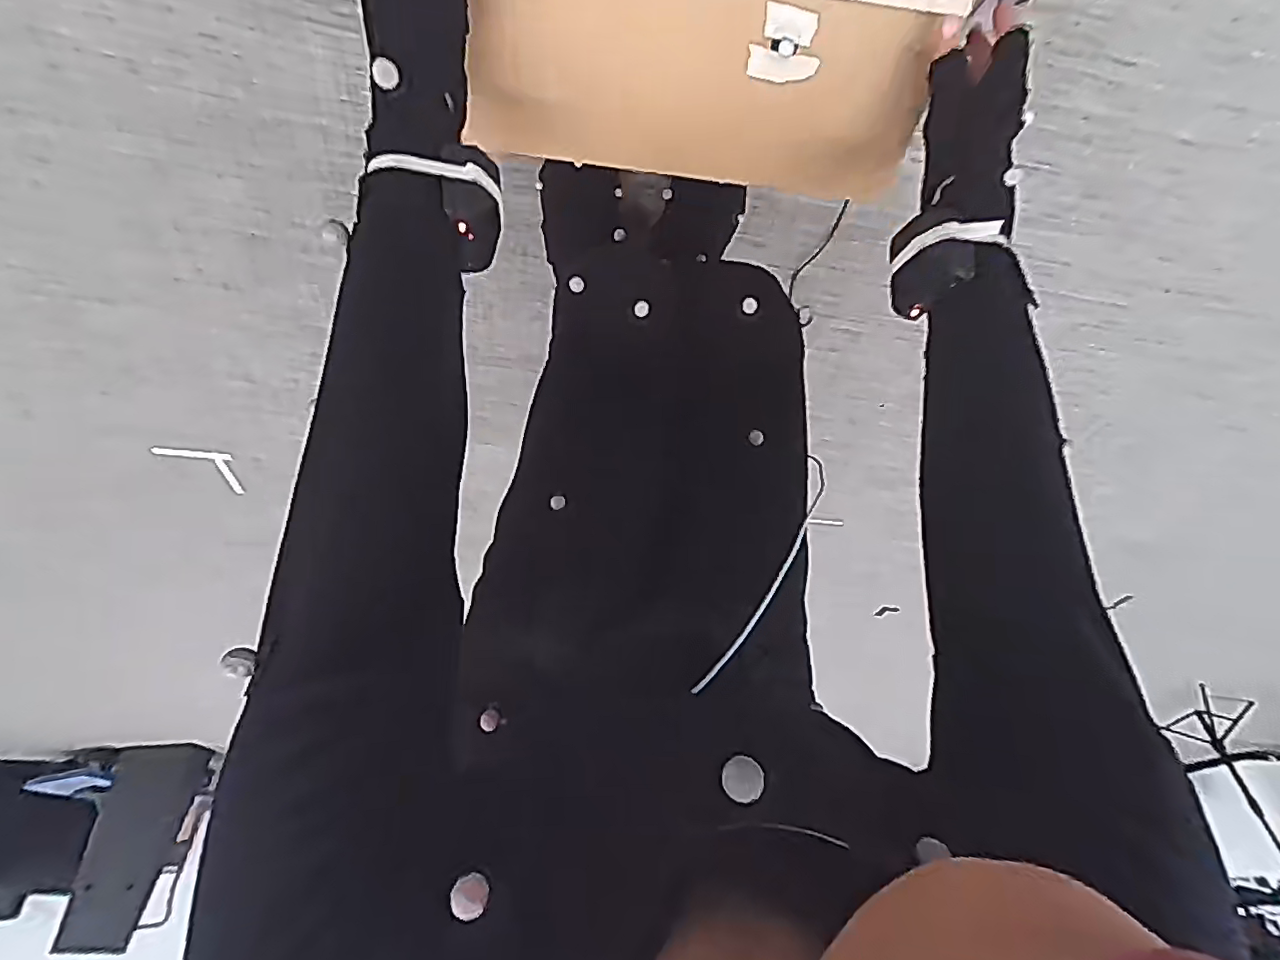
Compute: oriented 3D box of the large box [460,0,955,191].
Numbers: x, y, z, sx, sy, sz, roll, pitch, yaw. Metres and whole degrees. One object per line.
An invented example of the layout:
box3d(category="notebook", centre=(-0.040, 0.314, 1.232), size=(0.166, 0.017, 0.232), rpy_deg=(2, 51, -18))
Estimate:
box3d(category="large box", centre=(0.055, -0.514, 0.507), size=(0.408, 0.320, 0.320), rpy_deg=(4, 141, -6))
